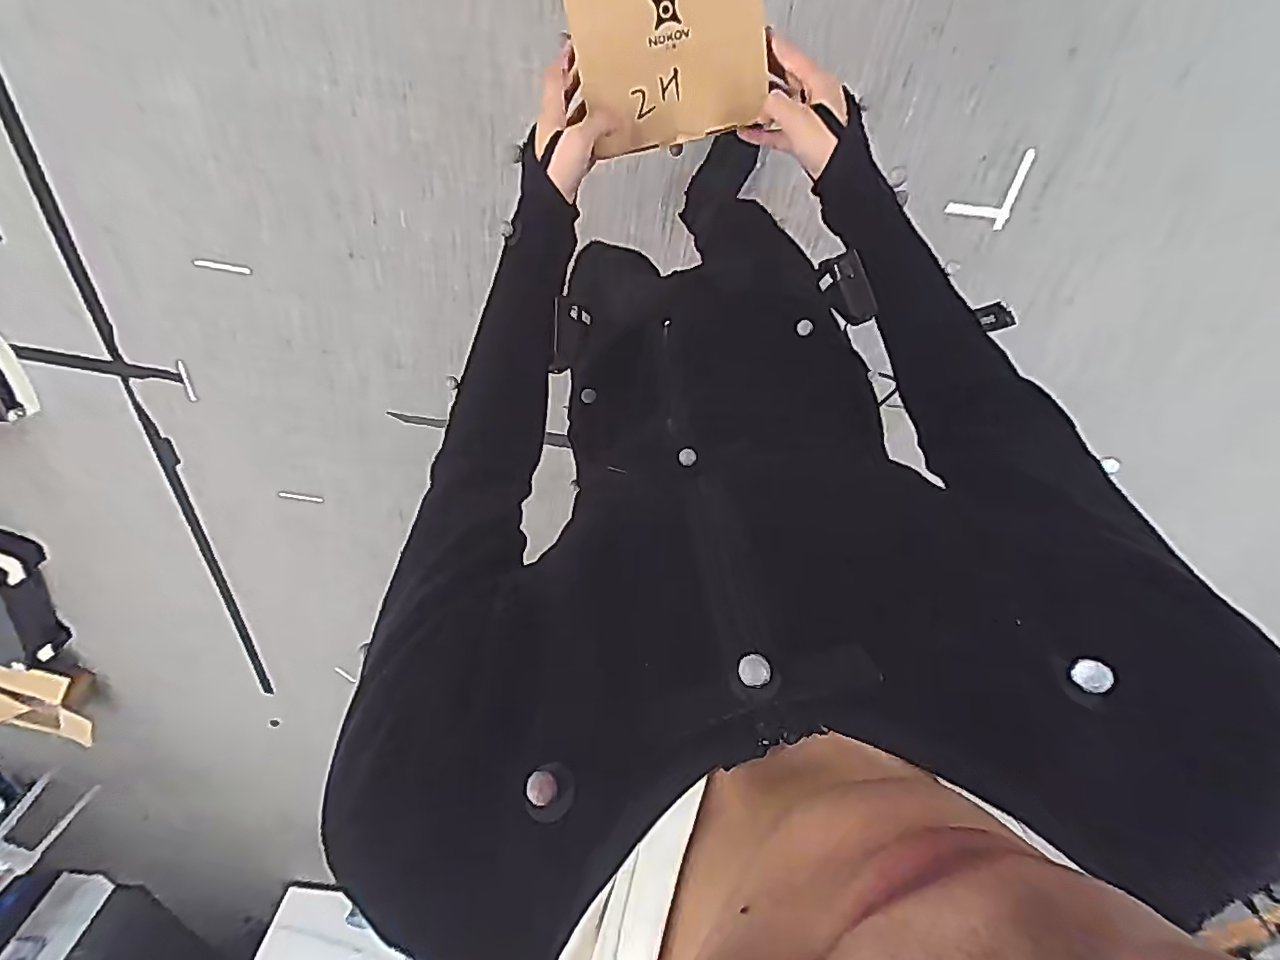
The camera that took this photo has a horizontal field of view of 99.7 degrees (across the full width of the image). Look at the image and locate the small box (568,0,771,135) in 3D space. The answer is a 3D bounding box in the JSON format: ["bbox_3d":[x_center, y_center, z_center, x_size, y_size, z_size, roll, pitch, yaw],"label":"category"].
[{"bbox_3d":[0.021,-0.443,0.510,0.168,0.176,0.179,-9,124,6],"label":"small box"}]
